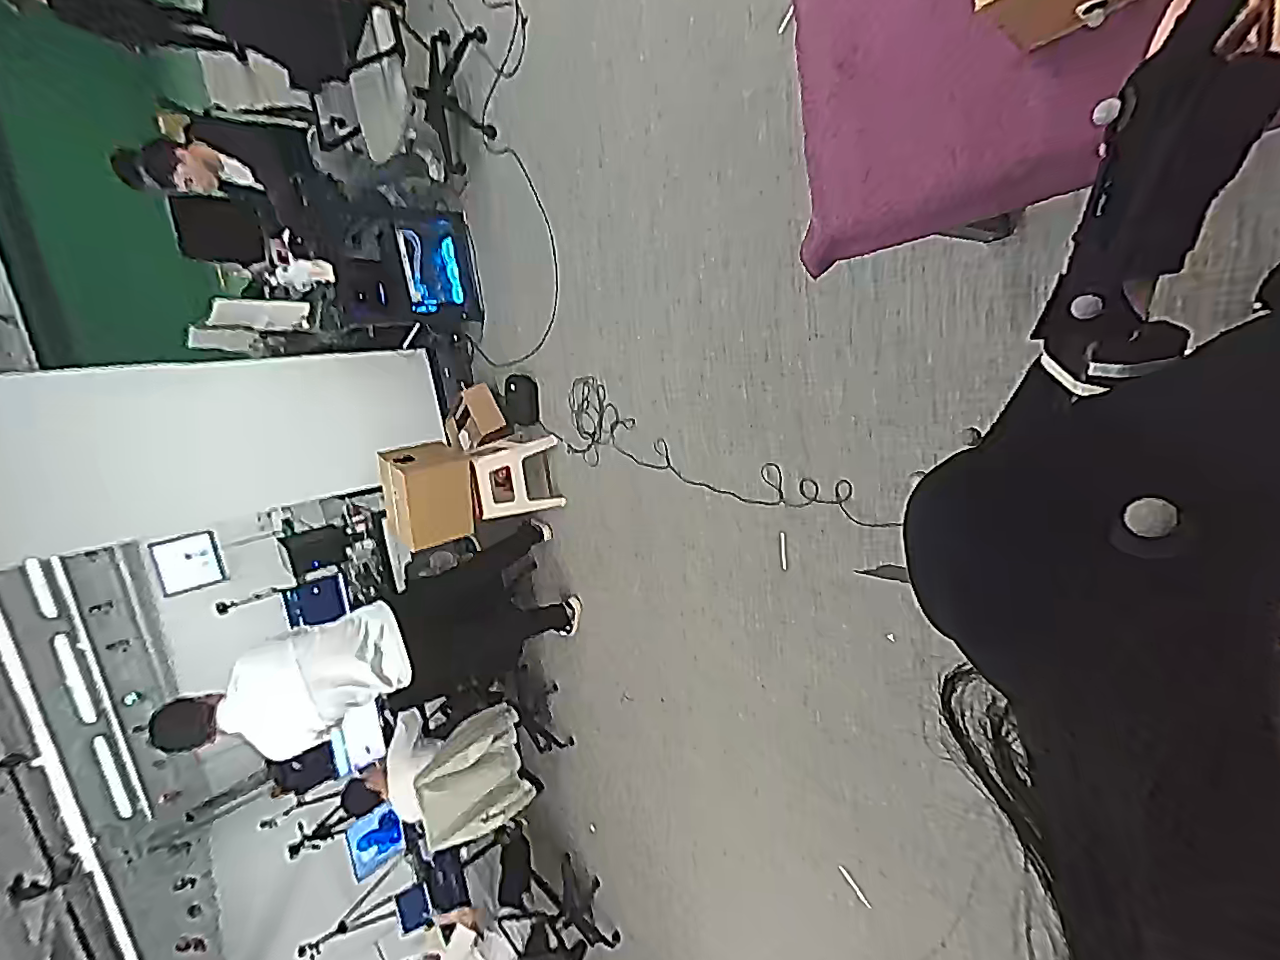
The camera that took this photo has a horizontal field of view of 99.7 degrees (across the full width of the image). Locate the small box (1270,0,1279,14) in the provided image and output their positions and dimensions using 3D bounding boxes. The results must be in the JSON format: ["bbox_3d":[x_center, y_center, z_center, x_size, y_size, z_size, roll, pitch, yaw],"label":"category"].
[{"bbox_3d":[0.377,-0.318,0.210,0.168,0.176,0.179,2,126,46],"label":"small box"}]

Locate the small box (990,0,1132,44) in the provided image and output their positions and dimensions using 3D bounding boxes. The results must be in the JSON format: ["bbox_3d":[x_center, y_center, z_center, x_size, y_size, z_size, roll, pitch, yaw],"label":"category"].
[{"bbox_3d":[0.411,-0.542,0.476,0.168,0.176,0.179,-2,103,50],"label":"small box"}]
